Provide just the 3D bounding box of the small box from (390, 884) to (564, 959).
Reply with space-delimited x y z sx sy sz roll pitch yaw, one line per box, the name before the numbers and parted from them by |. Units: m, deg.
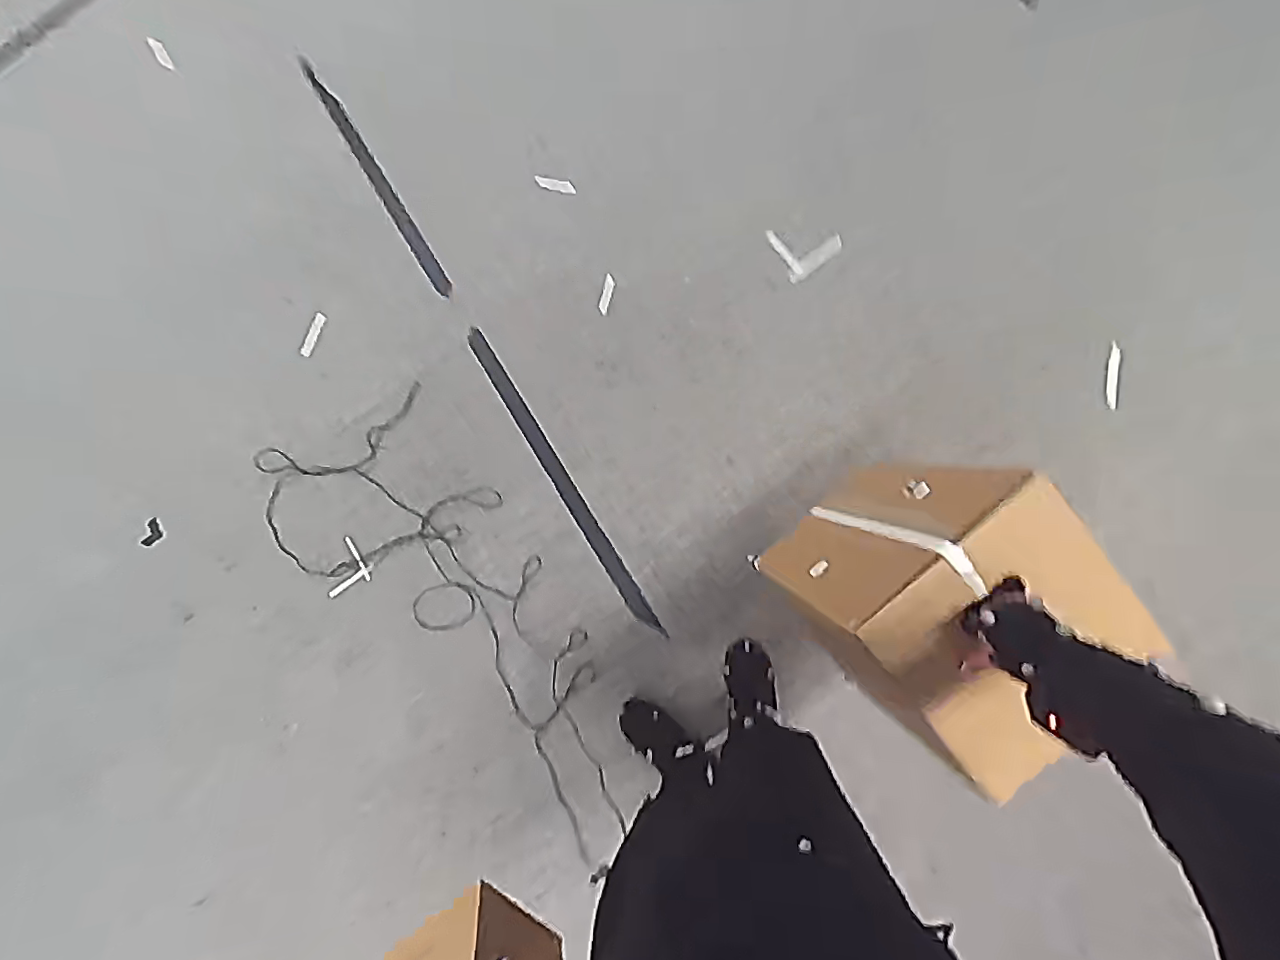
small box | -0.200 0.657 0.651 0.168 0.179 0.176 -38 108 0
